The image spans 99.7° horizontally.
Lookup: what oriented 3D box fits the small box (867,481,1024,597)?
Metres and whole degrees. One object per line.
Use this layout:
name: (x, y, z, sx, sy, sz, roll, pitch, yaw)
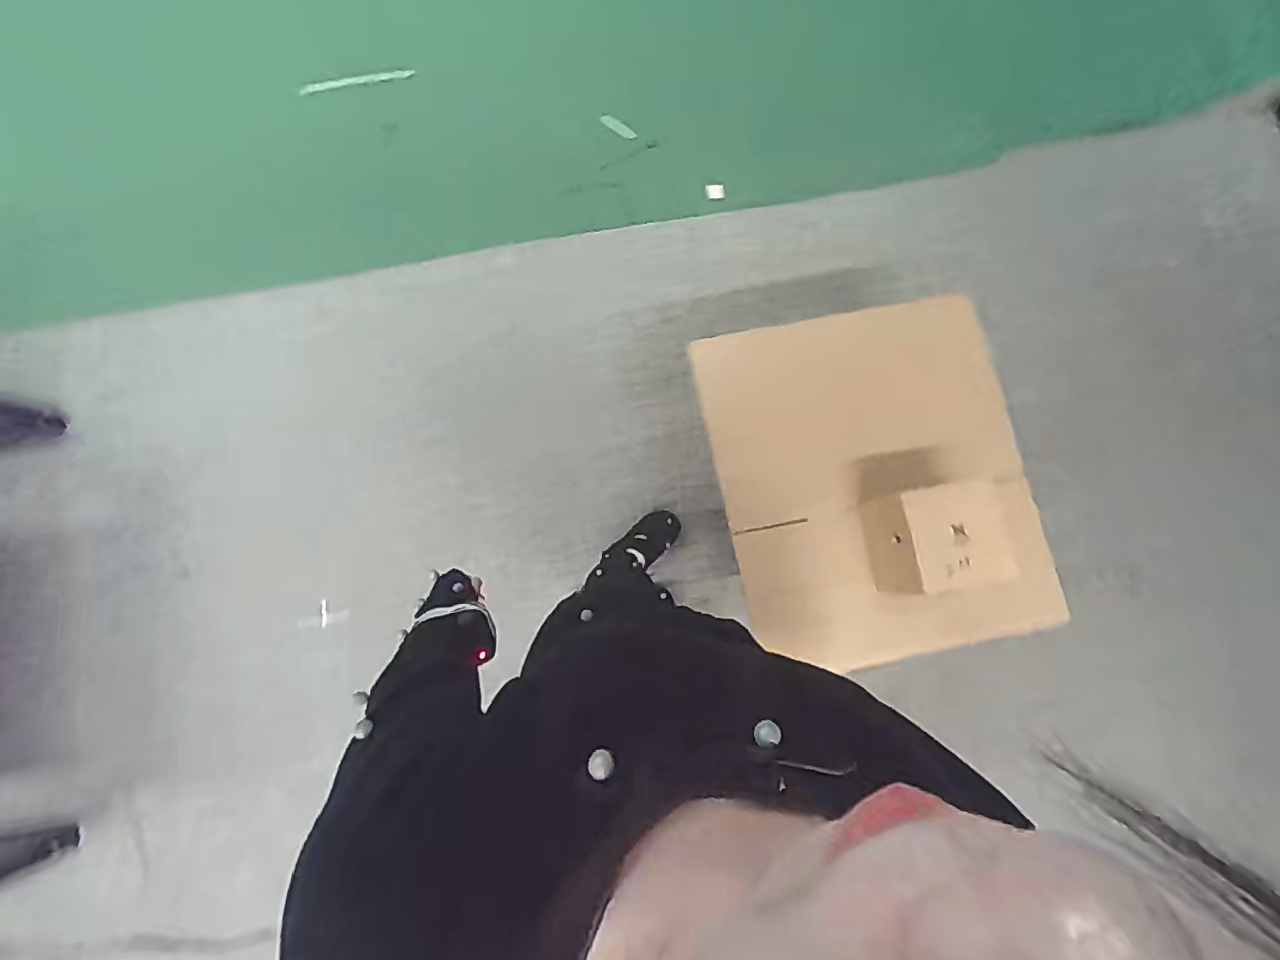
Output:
small box: (0.528, 0.110, 0.964, 0.168, 0.176, 0.179, -8, 80, -1)
